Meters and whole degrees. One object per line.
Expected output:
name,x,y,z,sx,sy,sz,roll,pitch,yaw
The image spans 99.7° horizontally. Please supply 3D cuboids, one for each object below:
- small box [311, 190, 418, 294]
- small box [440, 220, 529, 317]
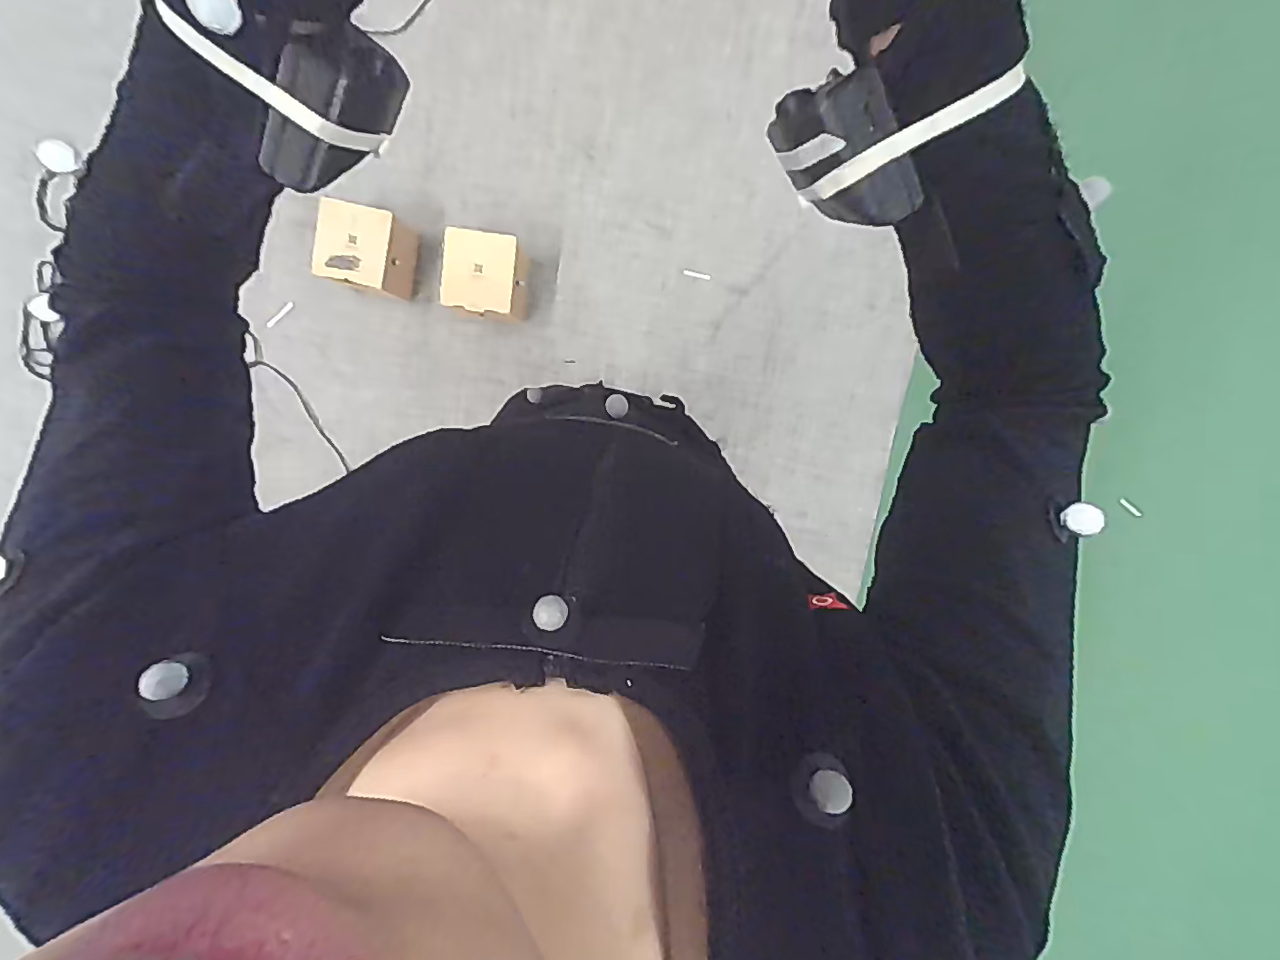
small box,-0.658,-0.565,1.308,0.168,0.176,0.179,12,98,-2
small box,-0.373,-0.508,1.321,0.168,0.176,0.179,7,99,-1
